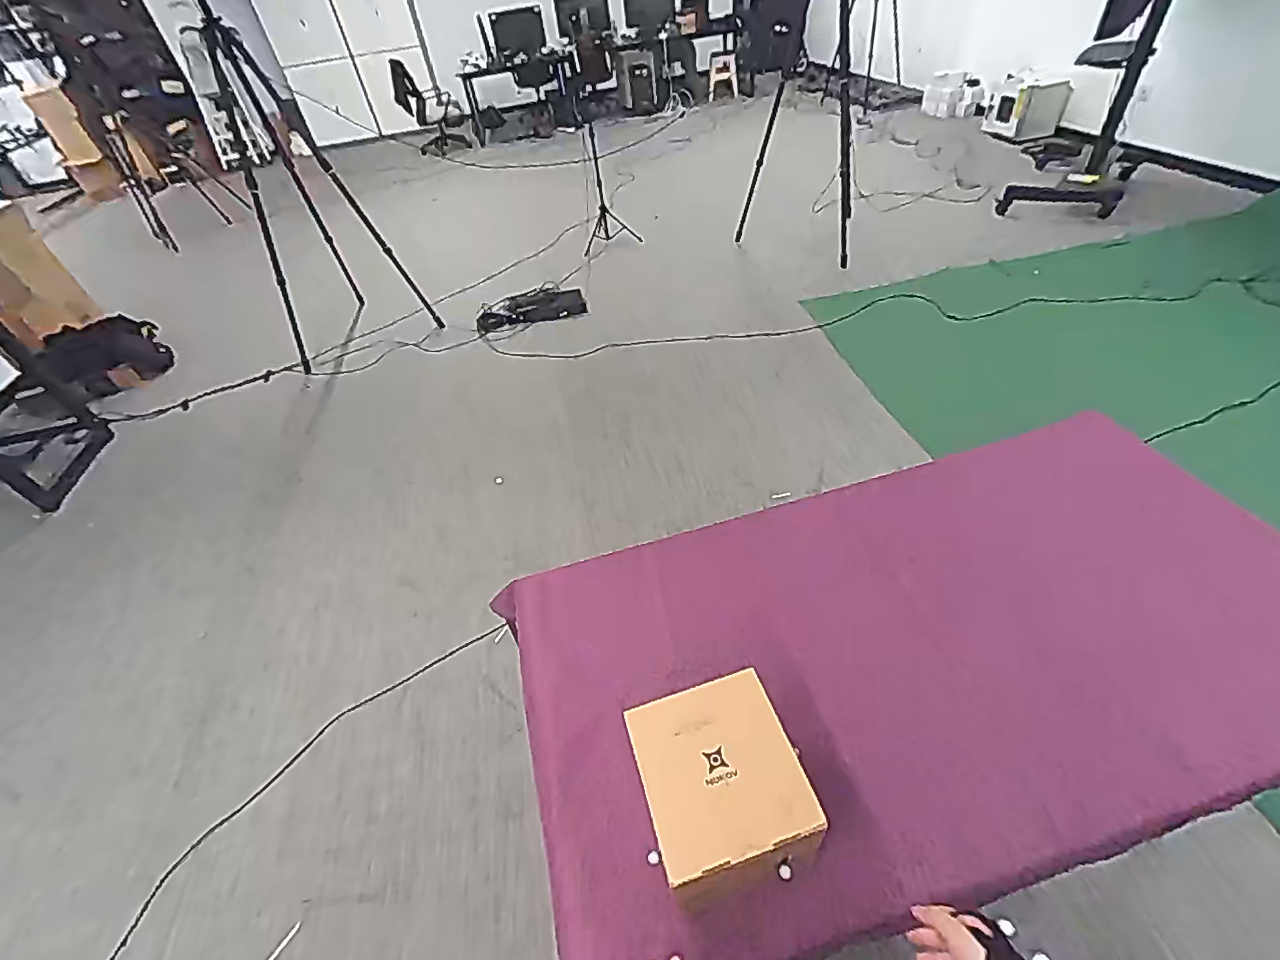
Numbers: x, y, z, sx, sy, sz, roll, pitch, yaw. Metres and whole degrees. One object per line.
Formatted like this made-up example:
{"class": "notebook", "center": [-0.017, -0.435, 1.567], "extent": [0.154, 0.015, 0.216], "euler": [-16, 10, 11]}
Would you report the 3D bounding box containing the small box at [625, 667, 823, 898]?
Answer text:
{"class": "small box", "center": [0.091, 0.358, 0.634], "extent": [0.168, 0.176, 0.179], "euler": [-15, 44, -8]}
